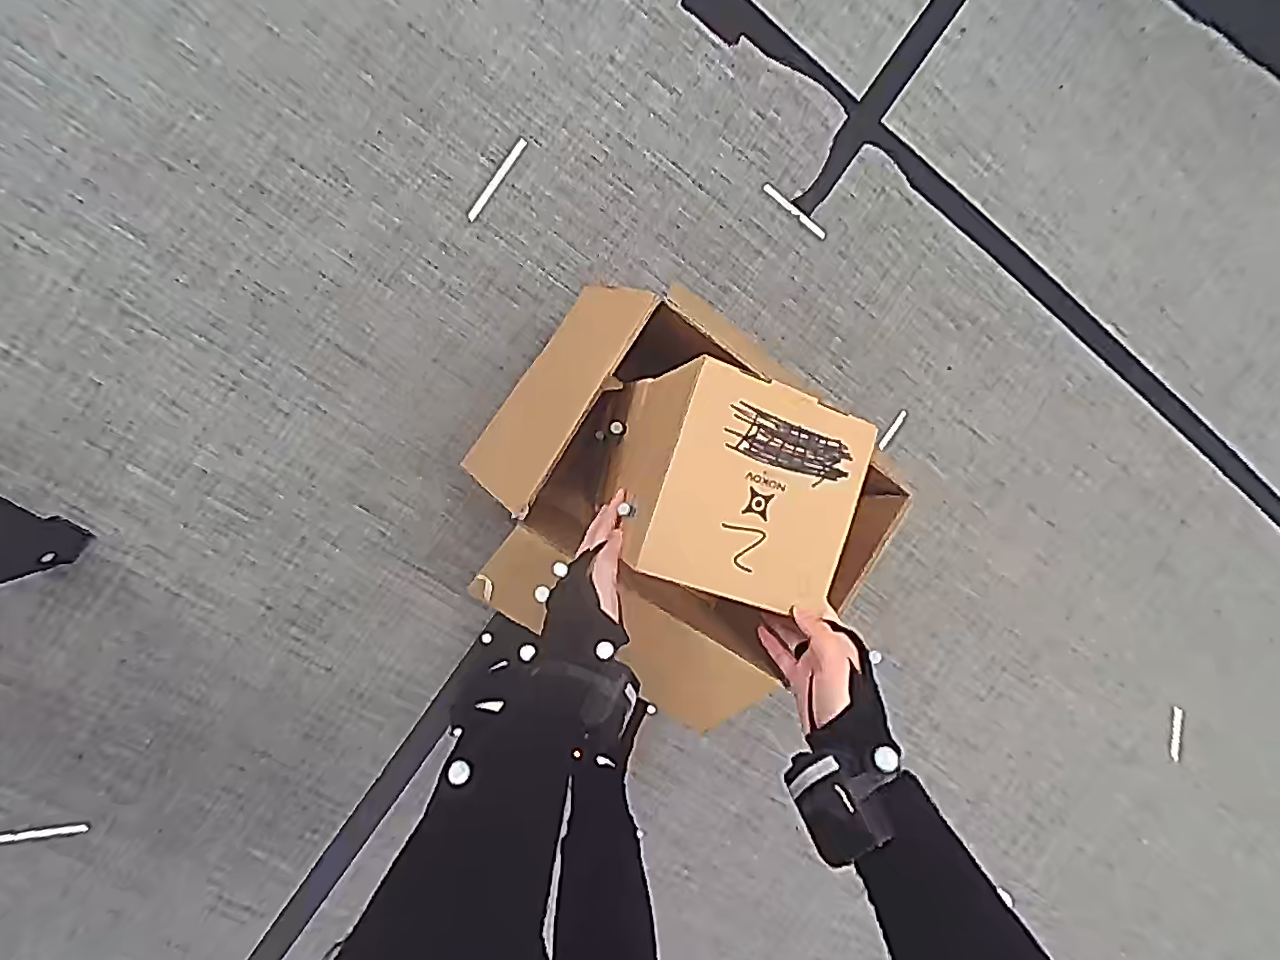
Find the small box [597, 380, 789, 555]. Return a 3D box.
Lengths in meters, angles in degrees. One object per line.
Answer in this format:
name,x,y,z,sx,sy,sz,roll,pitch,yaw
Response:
small box,0.052,-0.019,0.675,0.179,0.176,0.168,13,95,-14
